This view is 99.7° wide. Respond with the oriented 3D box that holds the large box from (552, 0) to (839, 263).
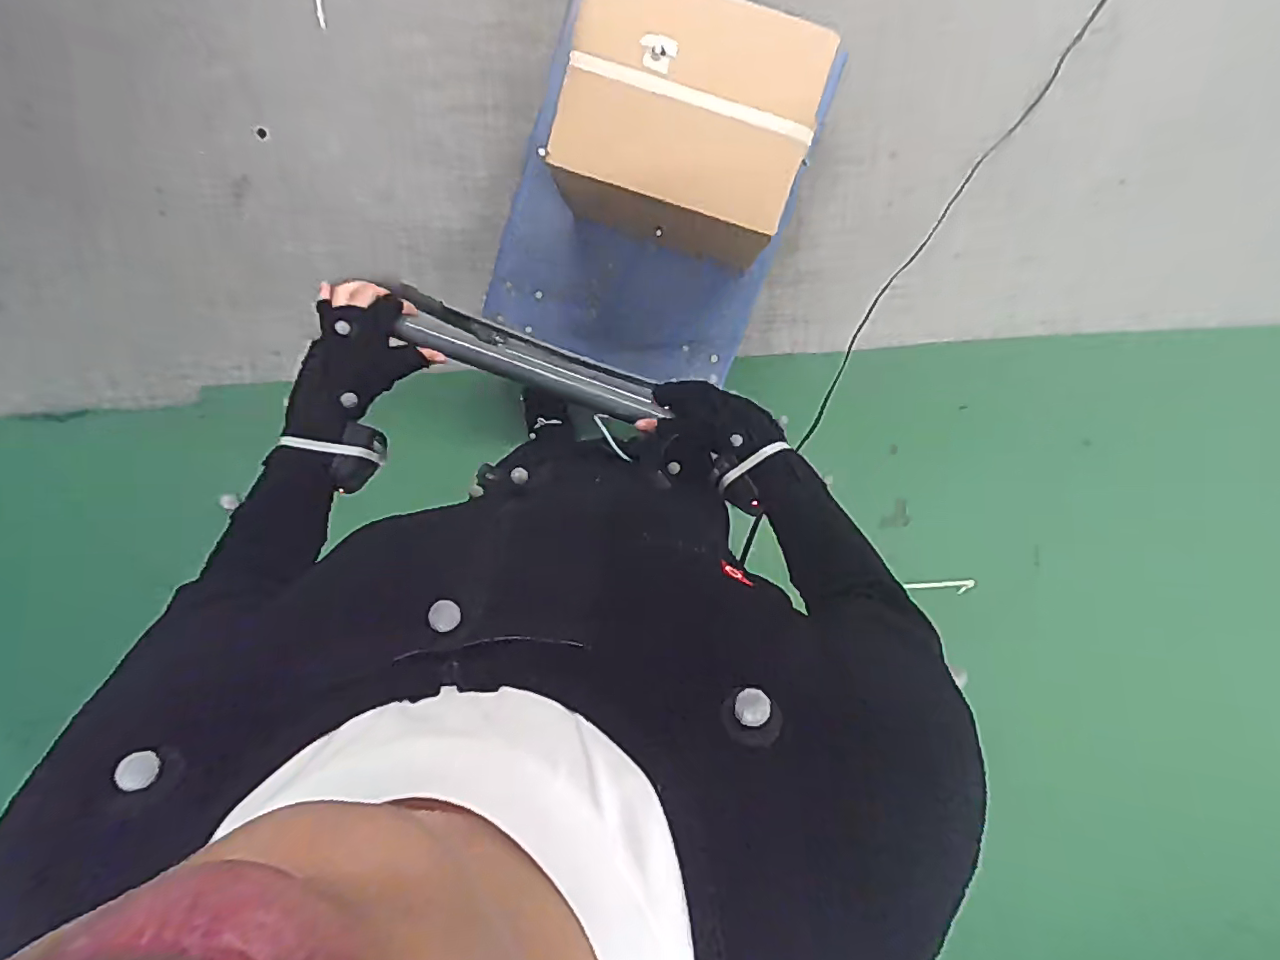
[{"bbox_3d":[0.092,-0.639,1.016,0.408,0.320,0.320,17,101,0],"label":"large box"}]
